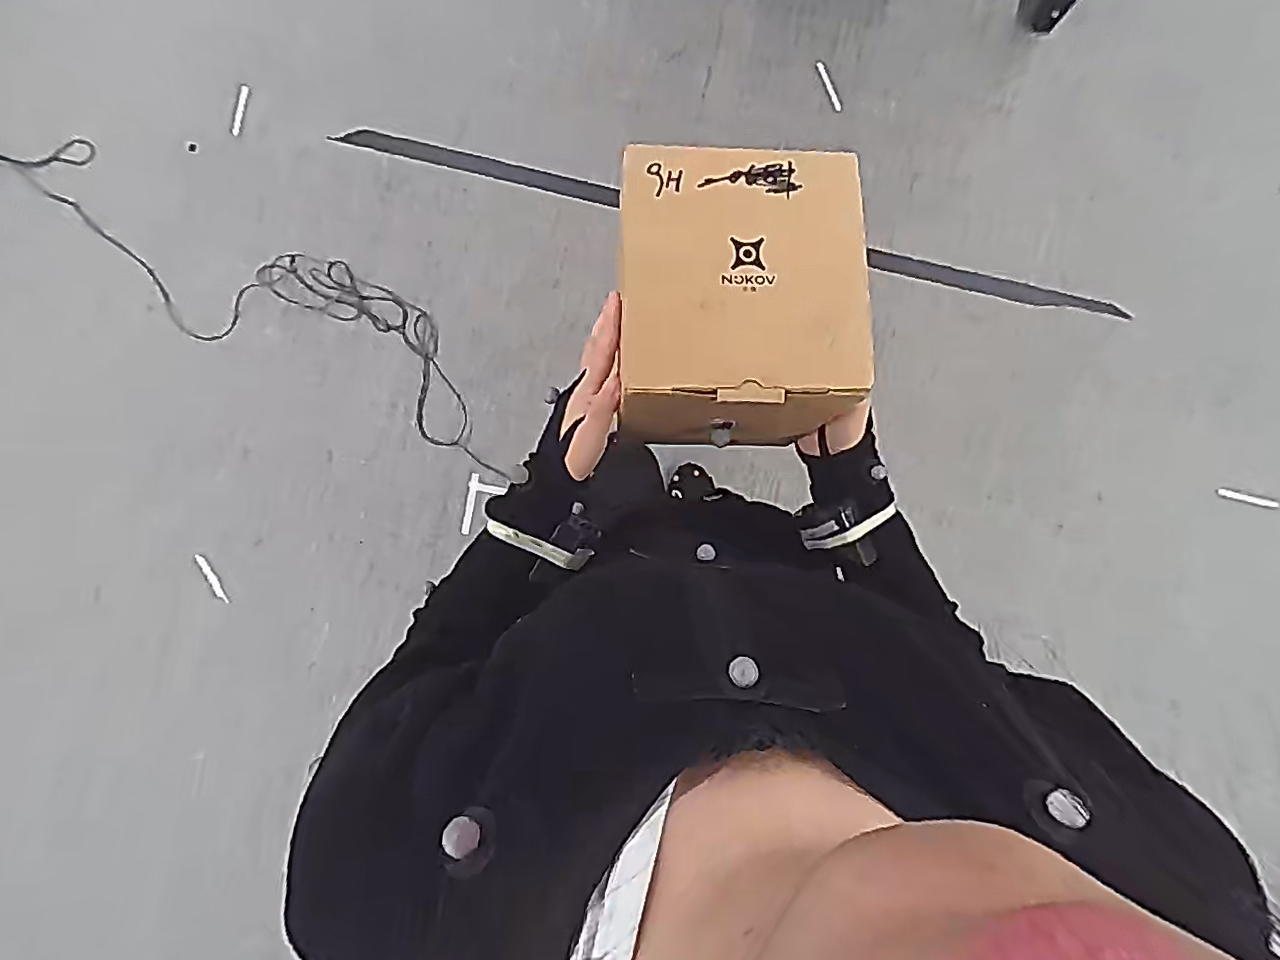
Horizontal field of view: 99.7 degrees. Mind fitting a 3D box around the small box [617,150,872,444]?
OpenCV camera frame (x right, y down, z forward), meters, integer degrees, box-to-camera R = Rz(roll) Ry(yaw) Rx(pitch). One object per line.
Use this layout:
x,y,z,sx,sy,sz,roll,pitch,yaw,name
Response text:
0.067,-0.127,0.439,0.168,0.176,0.179,0,83,-4,small box
